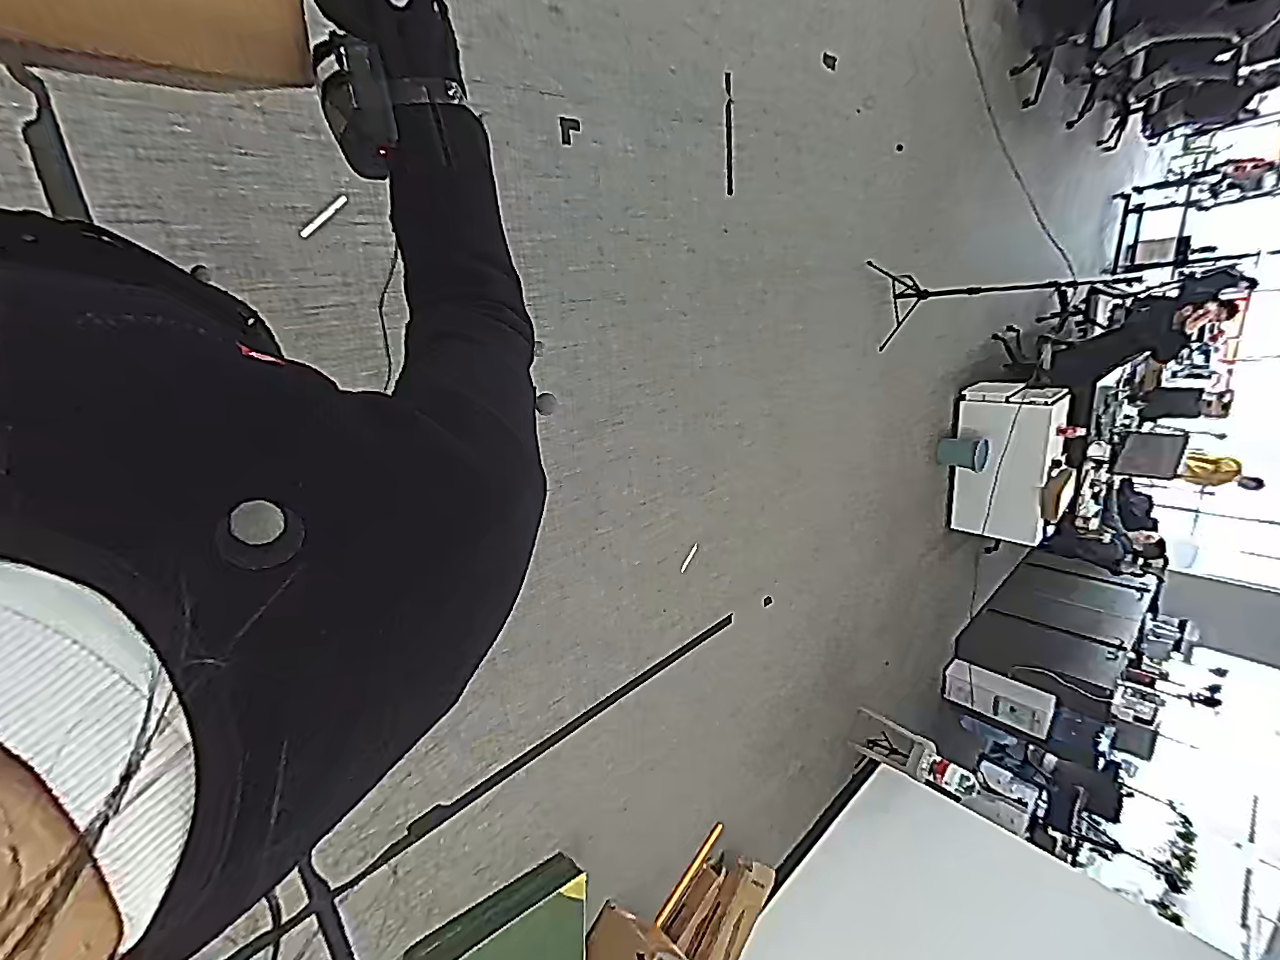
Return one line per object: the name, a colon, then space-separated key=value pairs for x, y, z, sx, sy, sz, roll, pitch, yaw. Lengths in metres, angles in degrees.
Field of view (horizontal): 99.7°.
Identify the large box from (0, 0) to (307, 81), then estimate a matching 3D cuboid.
large box: x=-0.445 y=-0.396 z=0.240 sx=0.408 sy=0.320 sz=0.320 roll=-21 pitch=131 yaw=-38
